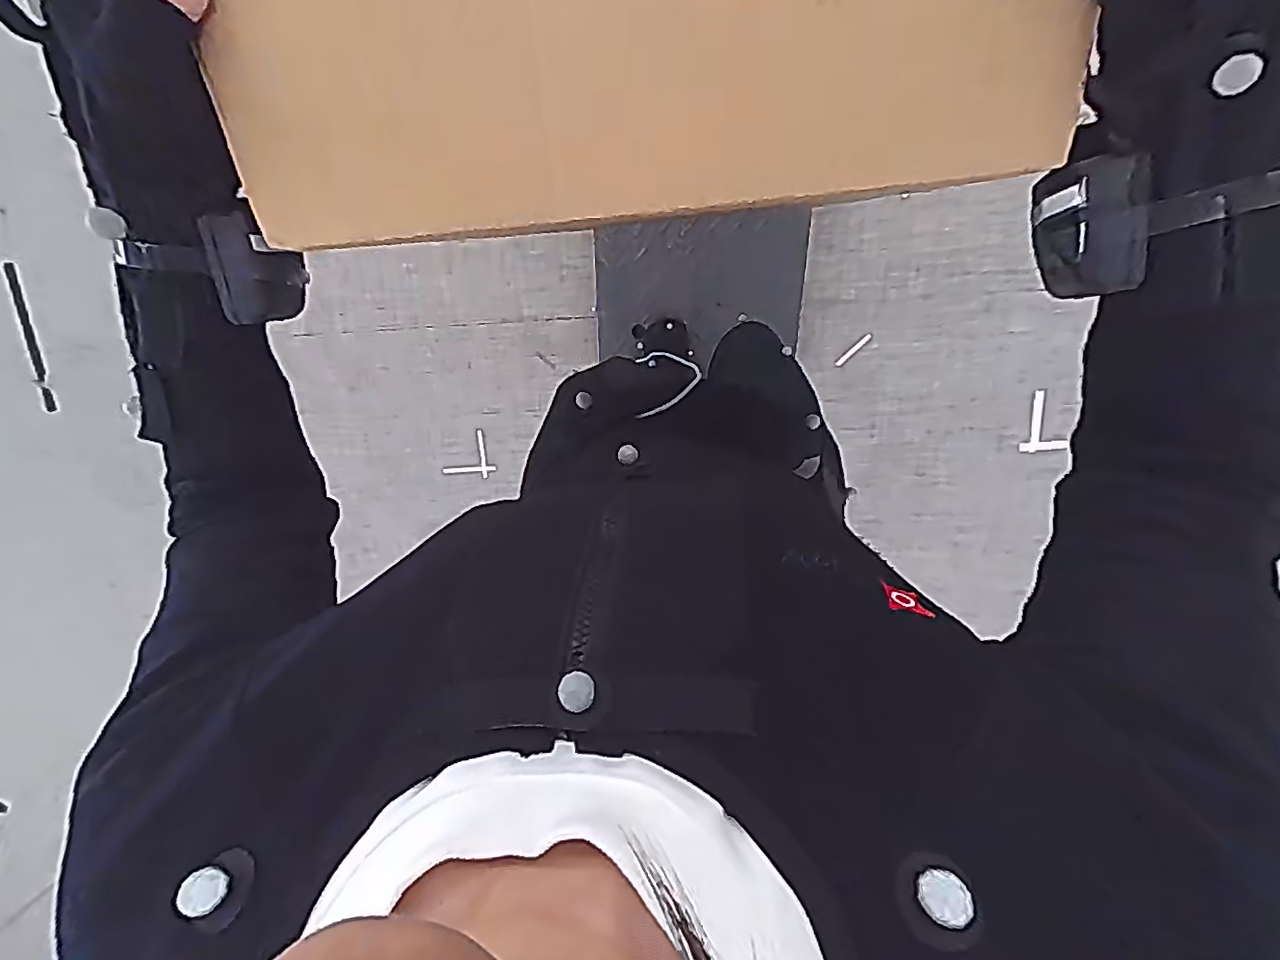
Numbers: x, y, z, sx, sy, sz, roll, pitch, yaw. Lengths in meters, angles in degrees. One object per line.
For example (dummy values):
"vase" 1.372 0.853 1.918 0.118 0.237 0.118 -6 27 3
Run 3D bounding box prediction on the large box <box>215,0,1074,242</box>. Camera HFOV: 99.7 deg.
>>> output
"large box" -0.004 -0.350 0.356 0.408 0.320 0.320 -3 116 6
